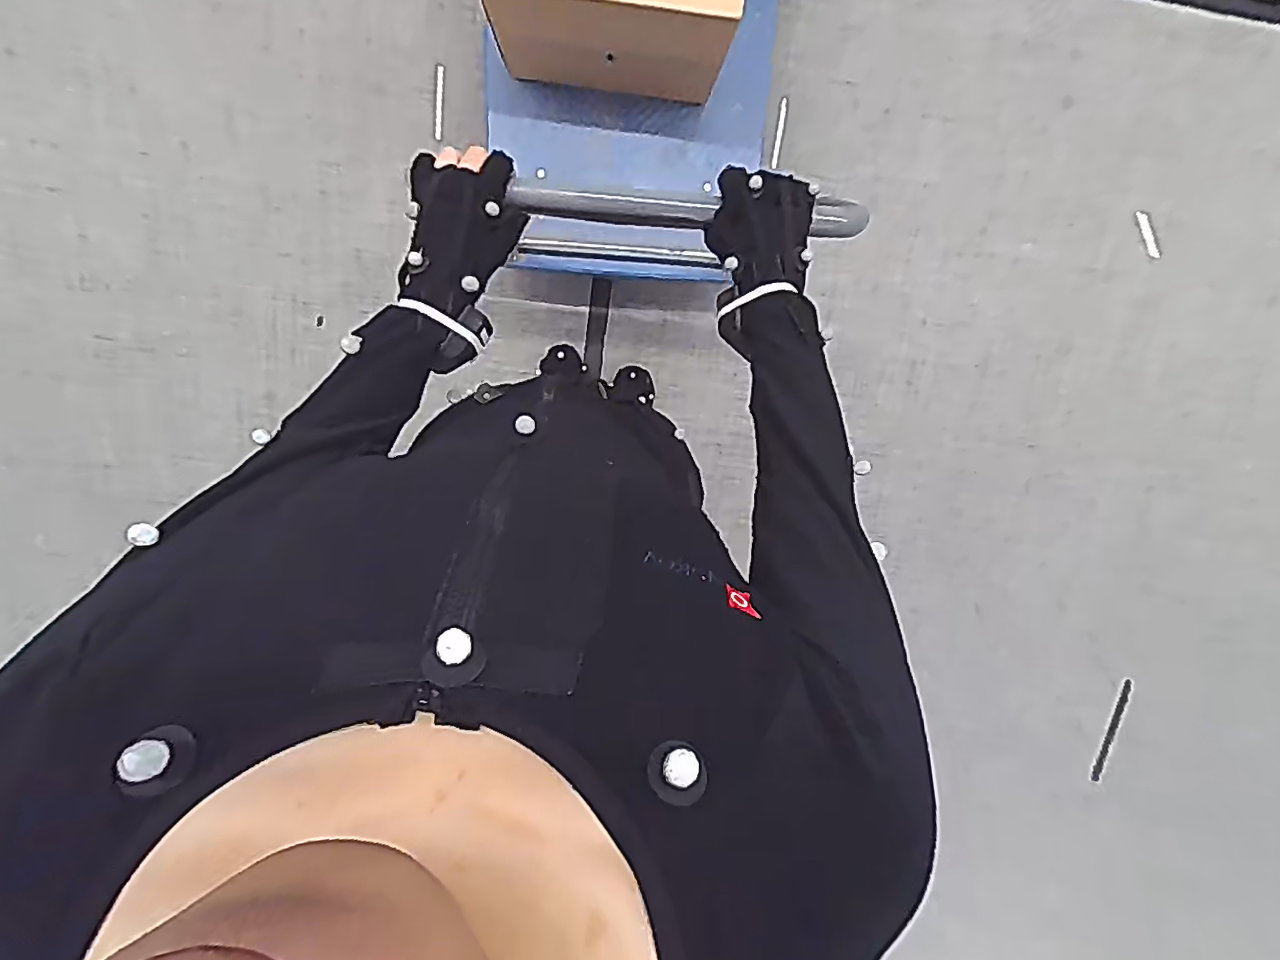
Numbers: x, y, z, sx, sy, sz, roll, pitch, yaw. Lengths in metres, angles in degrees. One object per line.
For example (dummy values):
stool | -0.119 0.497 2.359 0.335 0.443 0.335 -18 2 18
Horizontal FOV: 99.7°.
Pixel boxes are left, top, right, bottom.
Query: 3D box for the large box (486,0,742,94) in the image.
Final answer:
large box | -0.036 -0.908 0.919 0.408 0.320 0.320 5 104 -4
